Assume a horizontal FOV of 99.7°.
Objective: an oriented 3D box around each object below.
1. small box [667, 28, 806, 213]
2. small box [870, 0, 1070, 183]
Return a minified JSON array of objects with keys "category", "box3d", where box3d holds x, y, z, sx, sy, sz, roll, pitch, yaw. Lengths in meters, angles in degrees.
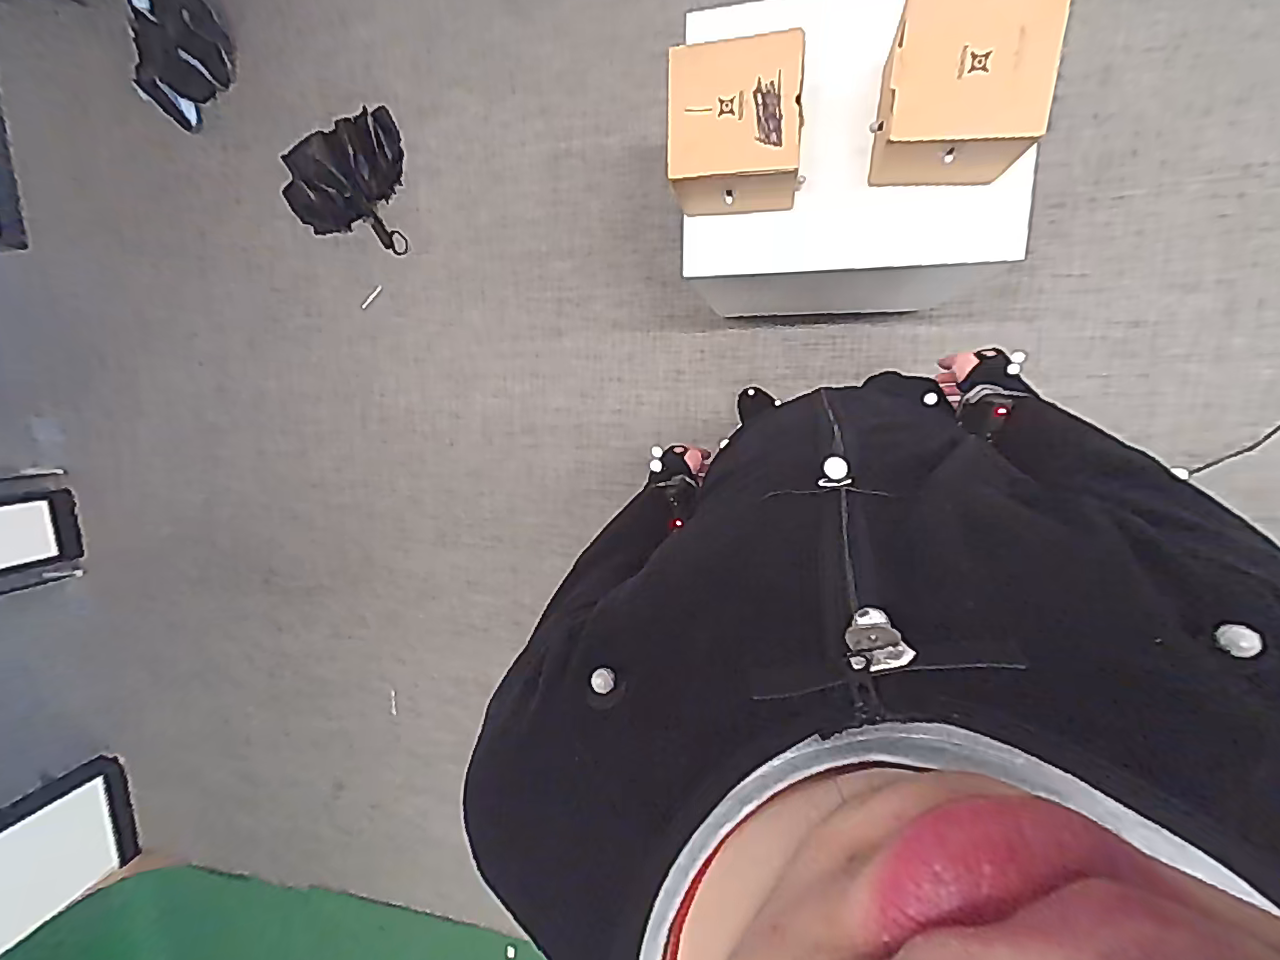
[{"category":"small box","box3d":[0.141,-0.501,0.782,0.179,0.176,0.168,3,100,14]},{"category":"small box","box3d":[0.415,-0.507,0.713,0.179,0.176,0.168,6,103,13]}]
